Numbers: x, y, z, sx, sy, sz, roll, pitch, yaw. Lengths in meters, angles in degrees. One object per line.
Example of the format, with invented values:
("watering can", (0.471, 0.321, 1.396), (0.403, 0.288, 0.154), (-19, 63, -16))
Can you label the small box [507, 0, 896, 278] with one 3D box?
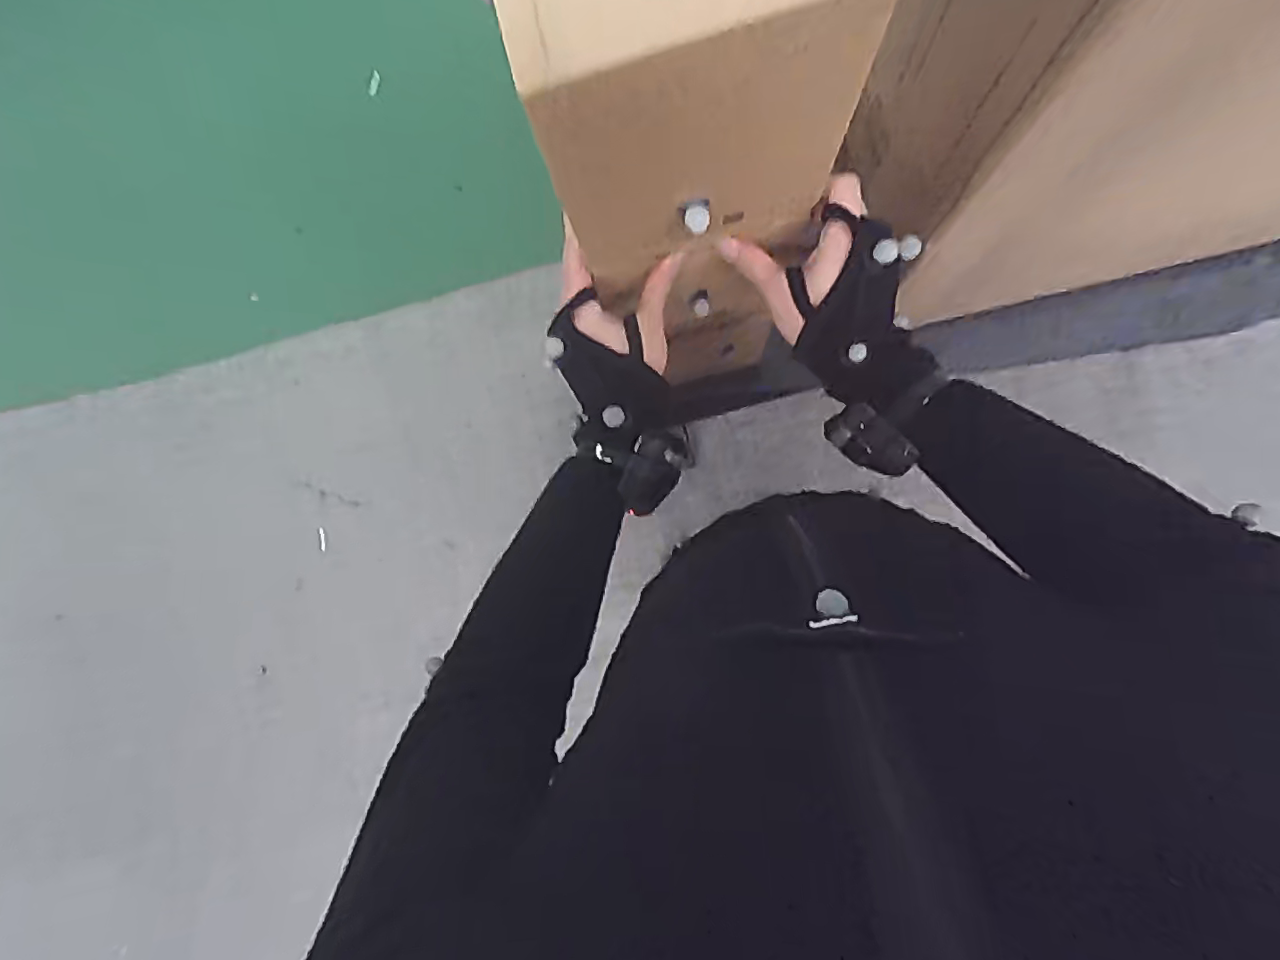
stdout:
("small box", (0.018, -0.256, 0.324), (0.168, 0.176, 0.179), (-15, 84, 4))

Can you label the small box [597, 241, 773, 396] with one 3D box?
("small box", (0.049, -0.212, 0.647), (0.168, 0.176, 0.179), (-15, 81, 4))
